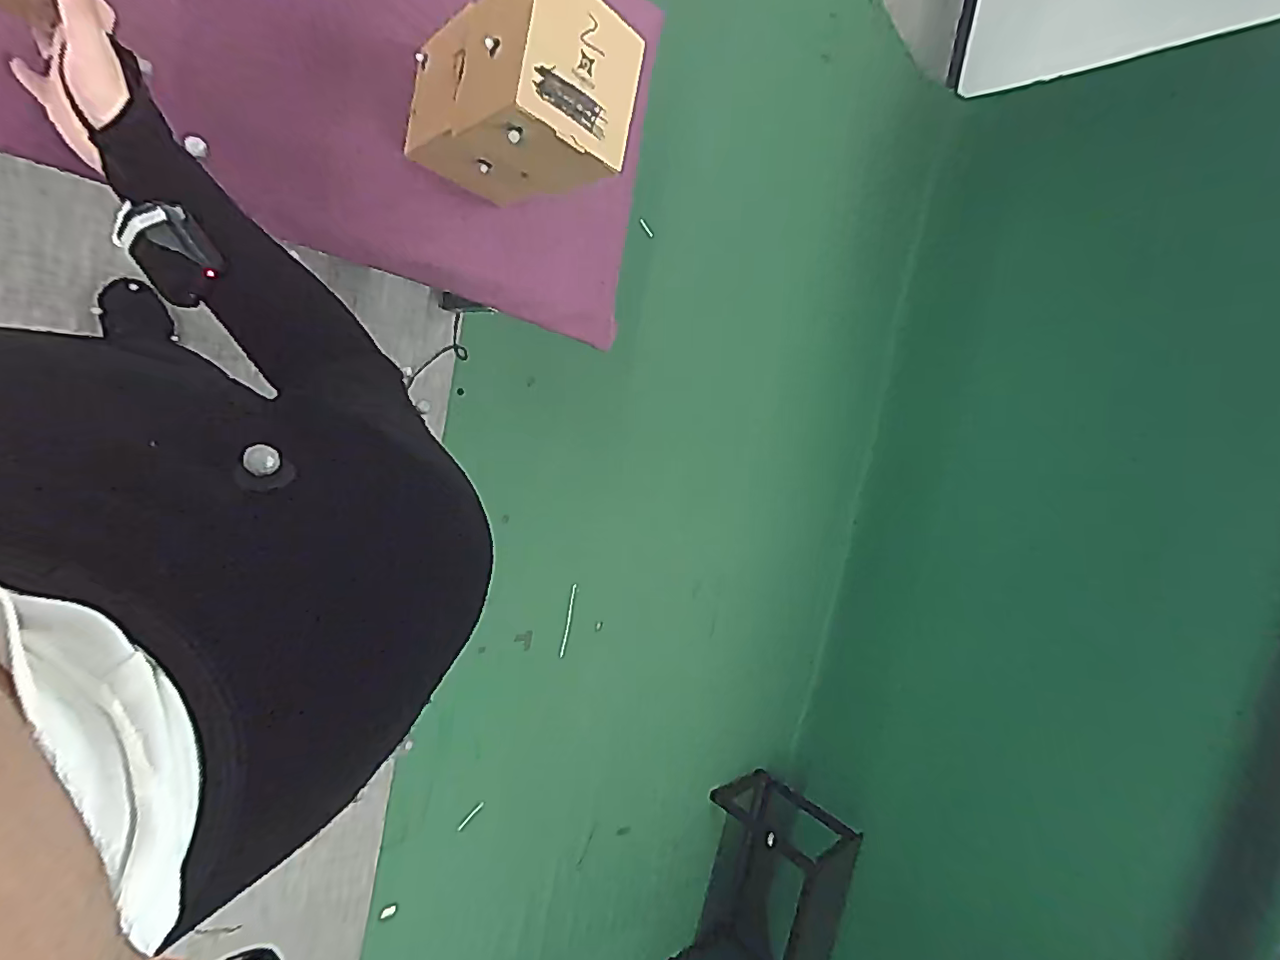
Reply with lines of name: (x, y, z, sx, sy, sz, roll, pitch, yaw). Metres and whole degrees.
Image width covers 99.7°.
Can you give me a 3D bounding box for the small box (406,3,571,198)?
small box: (-0.238, -0.561, 0.836, 0.179, 0.176, 0.168, 7, 97, -46)
